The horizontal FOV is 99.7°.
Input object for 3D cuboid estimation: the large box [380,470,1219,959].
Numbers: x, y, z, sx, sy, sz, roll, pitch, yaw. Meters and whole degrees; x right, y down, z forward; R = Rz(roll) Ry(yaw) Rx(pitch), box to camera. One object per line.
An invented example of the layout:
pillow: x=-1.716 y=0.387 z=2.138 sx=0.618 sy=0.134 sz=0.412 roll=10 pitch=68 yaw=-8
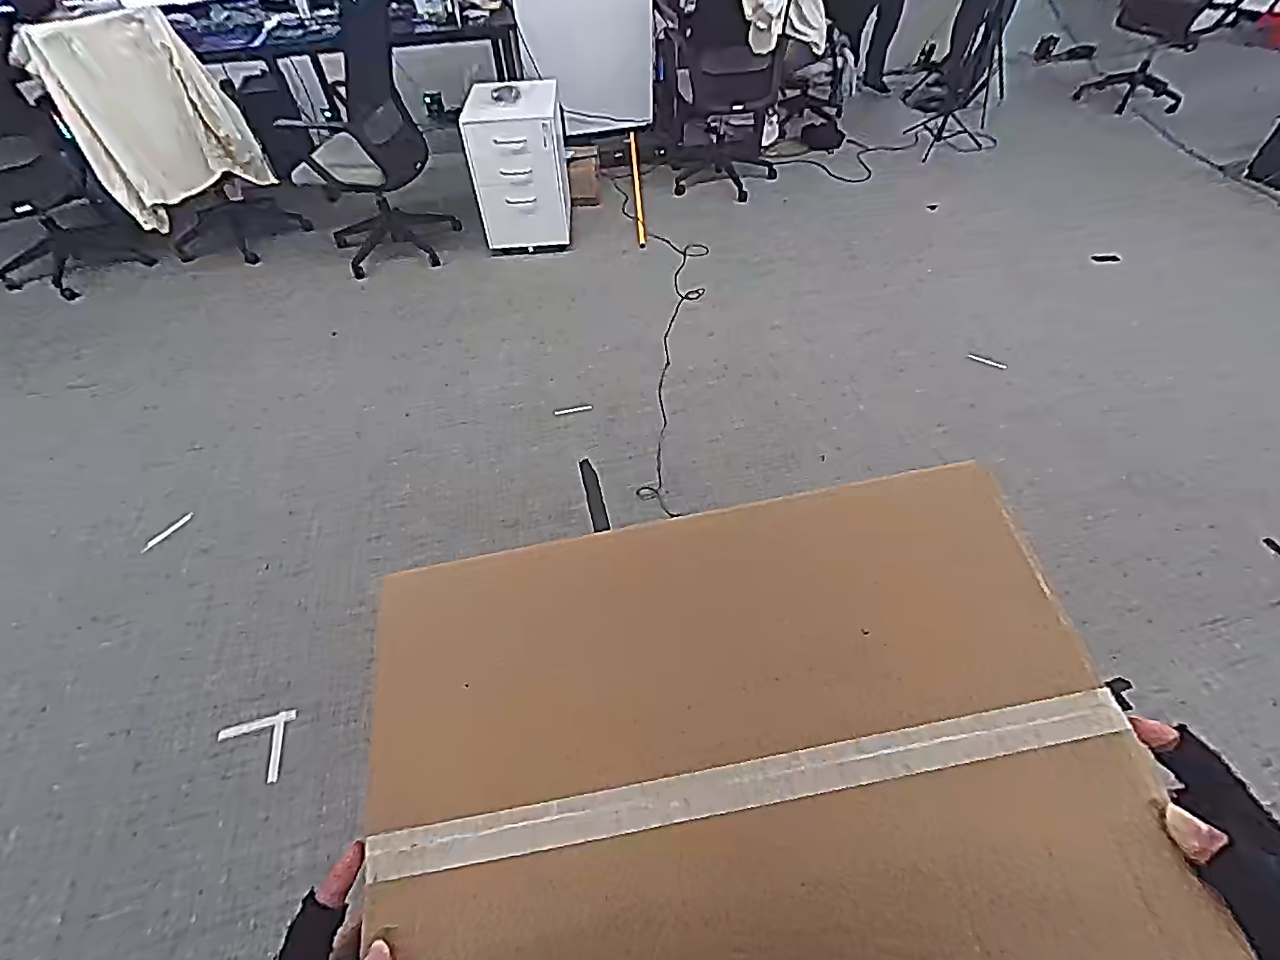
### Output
large box: x=0.069 y=0.230 z=0.432 sx=0.408 sy=0.320 sz=0.320 roll=-11 pitch=62 yaw=0
